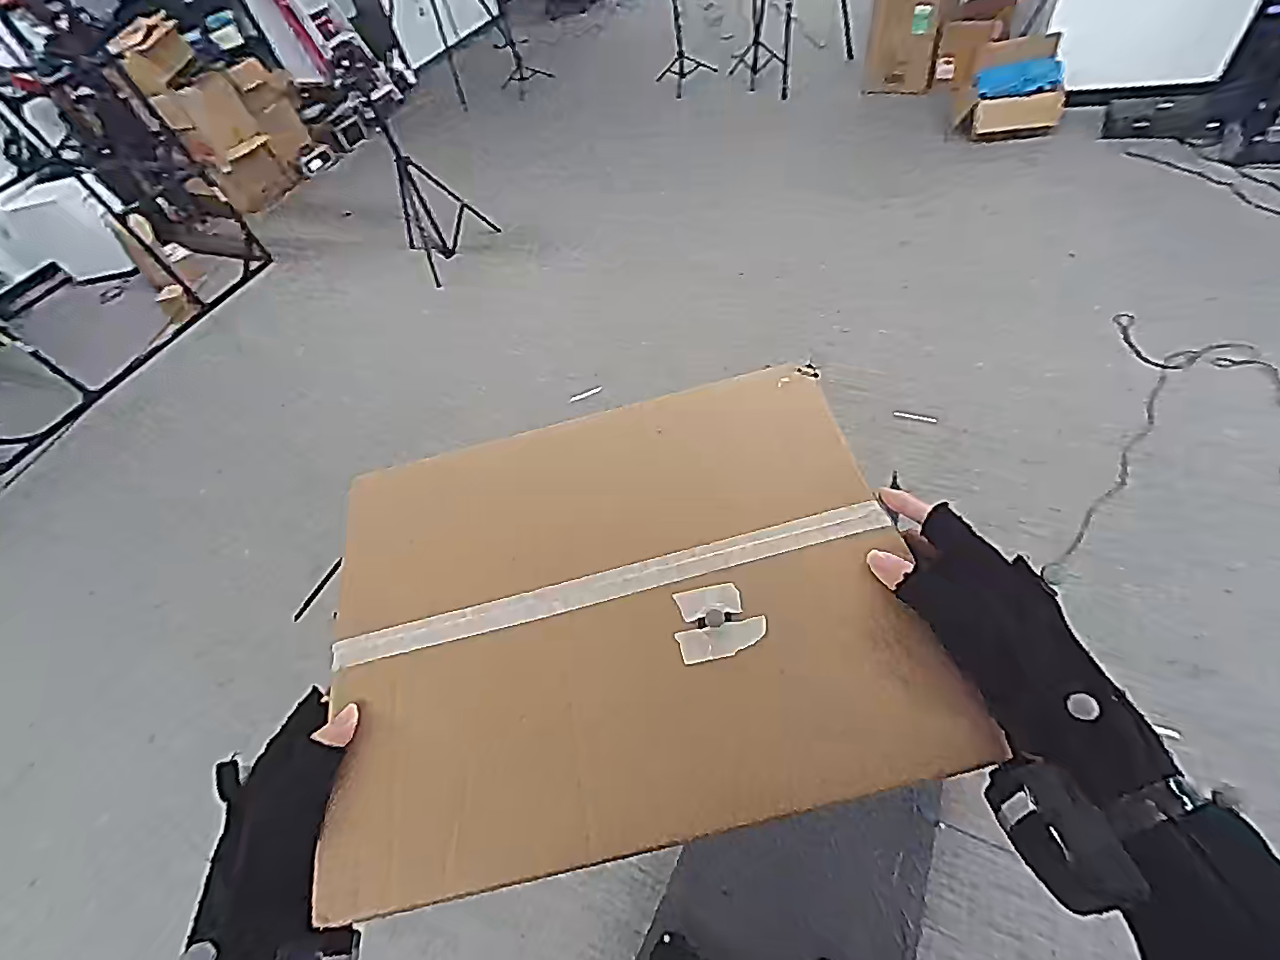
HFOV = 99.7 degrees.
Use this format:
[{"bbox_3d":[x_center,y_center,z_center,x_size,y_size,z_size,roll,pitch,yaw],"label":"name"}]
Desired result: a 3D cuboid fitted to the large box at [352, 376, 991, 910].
[{"bbox_3d":[0.009,0.159,0.524,0.408,0.320,0.320,-14,58,1],"label":"large box"}]
